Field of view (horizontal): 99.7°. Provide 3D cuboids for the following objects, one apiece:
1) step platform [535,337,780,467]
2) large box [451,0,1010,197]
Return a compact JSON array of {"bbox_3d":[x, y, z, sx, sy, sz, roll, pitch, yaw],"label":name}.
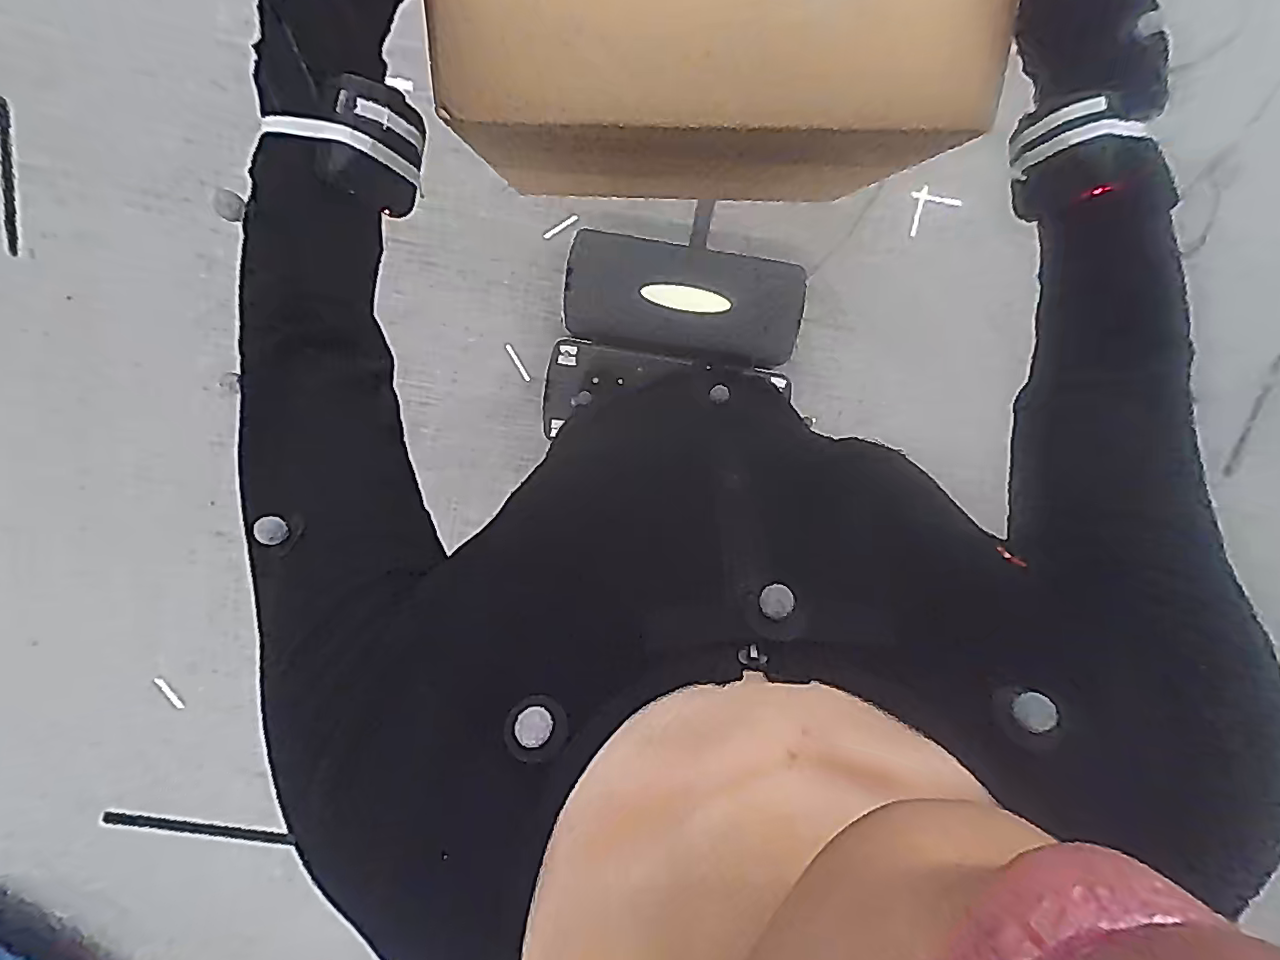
[{"bbox_3d":[0.047,-0.220,1.545,0.684,0.204,0.286,7,102,-3],"label":"step platform"},{"bbox_3d":[0.058,-0.458,0.494,0.408,0.320,0.320,0,109,-3],"label":"large box"}]
